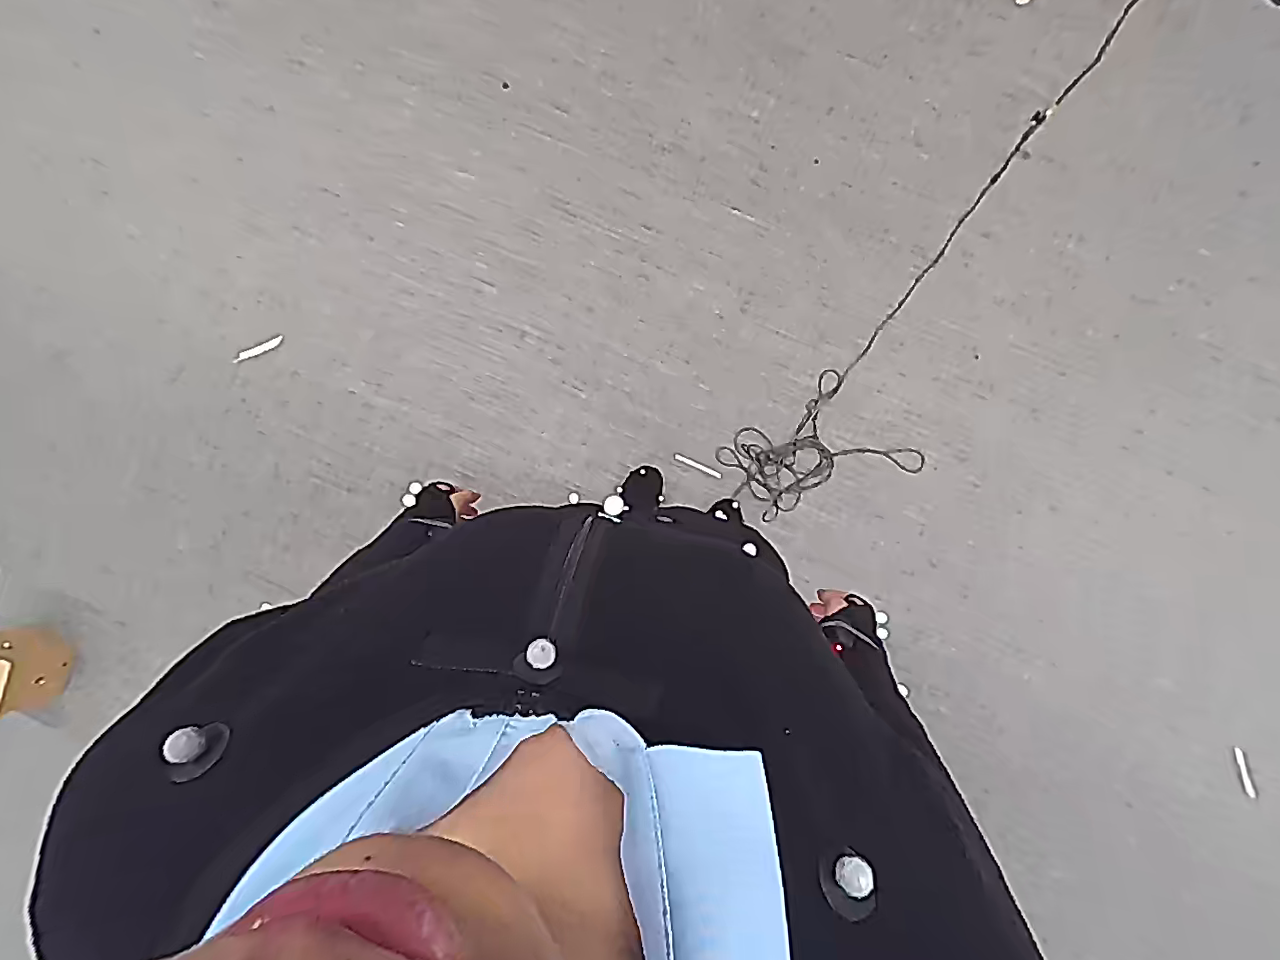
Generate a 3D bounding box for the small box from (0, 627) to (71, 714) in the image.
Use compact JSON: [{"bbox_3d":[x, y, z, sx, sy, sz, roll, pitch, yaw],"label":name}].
[{"bbox_3d":[-1.825,0.543,1.562,0.179,0.176,0.168,20,92,4],"label":"small box"}]
